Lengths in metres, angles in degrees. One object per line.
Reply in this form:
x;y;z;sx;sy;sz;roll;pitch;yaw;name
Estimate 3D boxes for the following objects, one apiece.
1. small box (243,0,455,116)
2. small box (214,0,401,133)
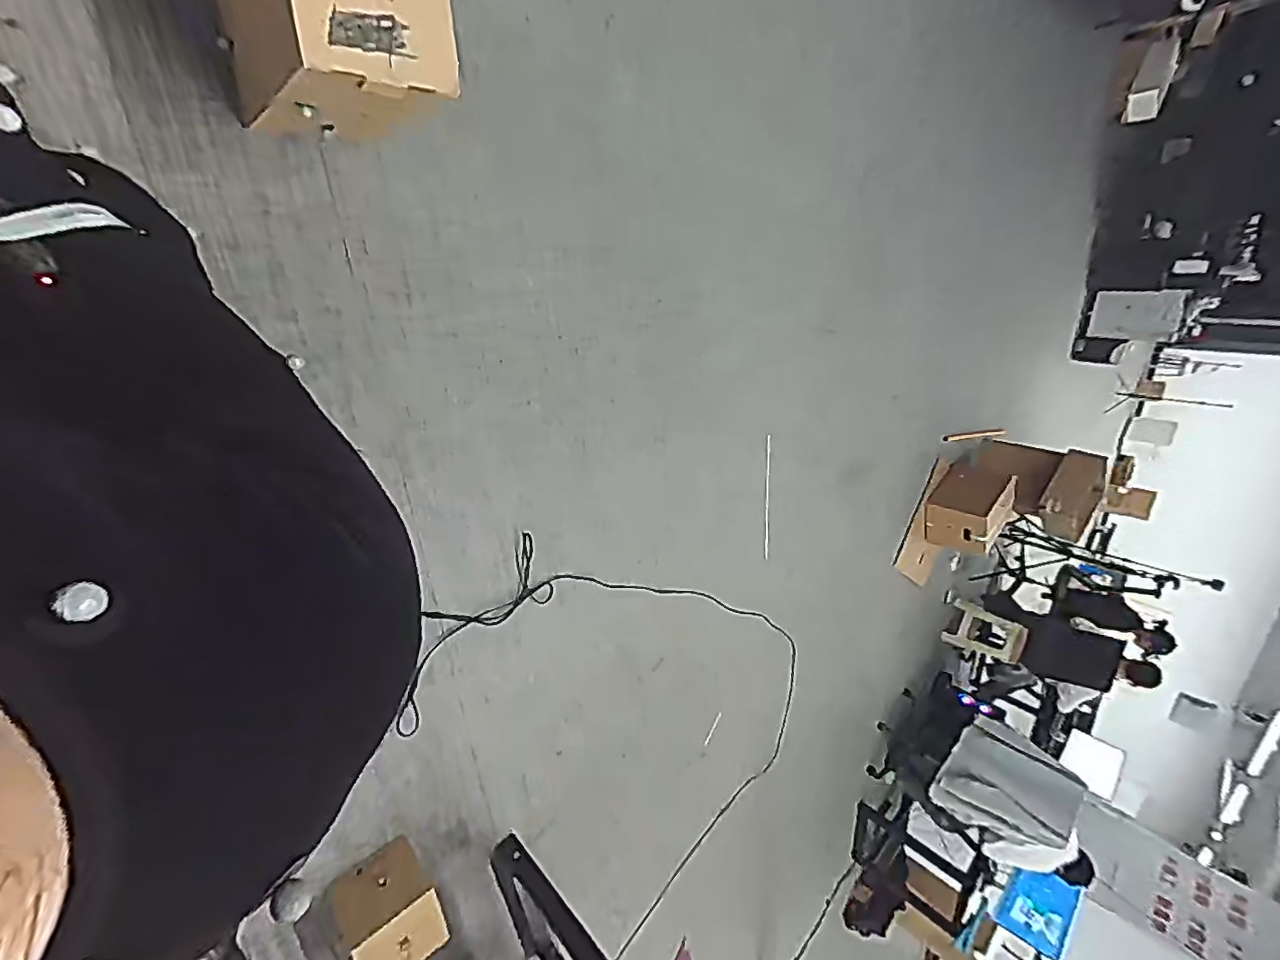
-0.325;-0.527;0.595;0.168;0.176;0.179;-19;117;-39;small box
-0.435;-0.575;0.708;0.168;0.176;0.179;-20;119;-39;small box
